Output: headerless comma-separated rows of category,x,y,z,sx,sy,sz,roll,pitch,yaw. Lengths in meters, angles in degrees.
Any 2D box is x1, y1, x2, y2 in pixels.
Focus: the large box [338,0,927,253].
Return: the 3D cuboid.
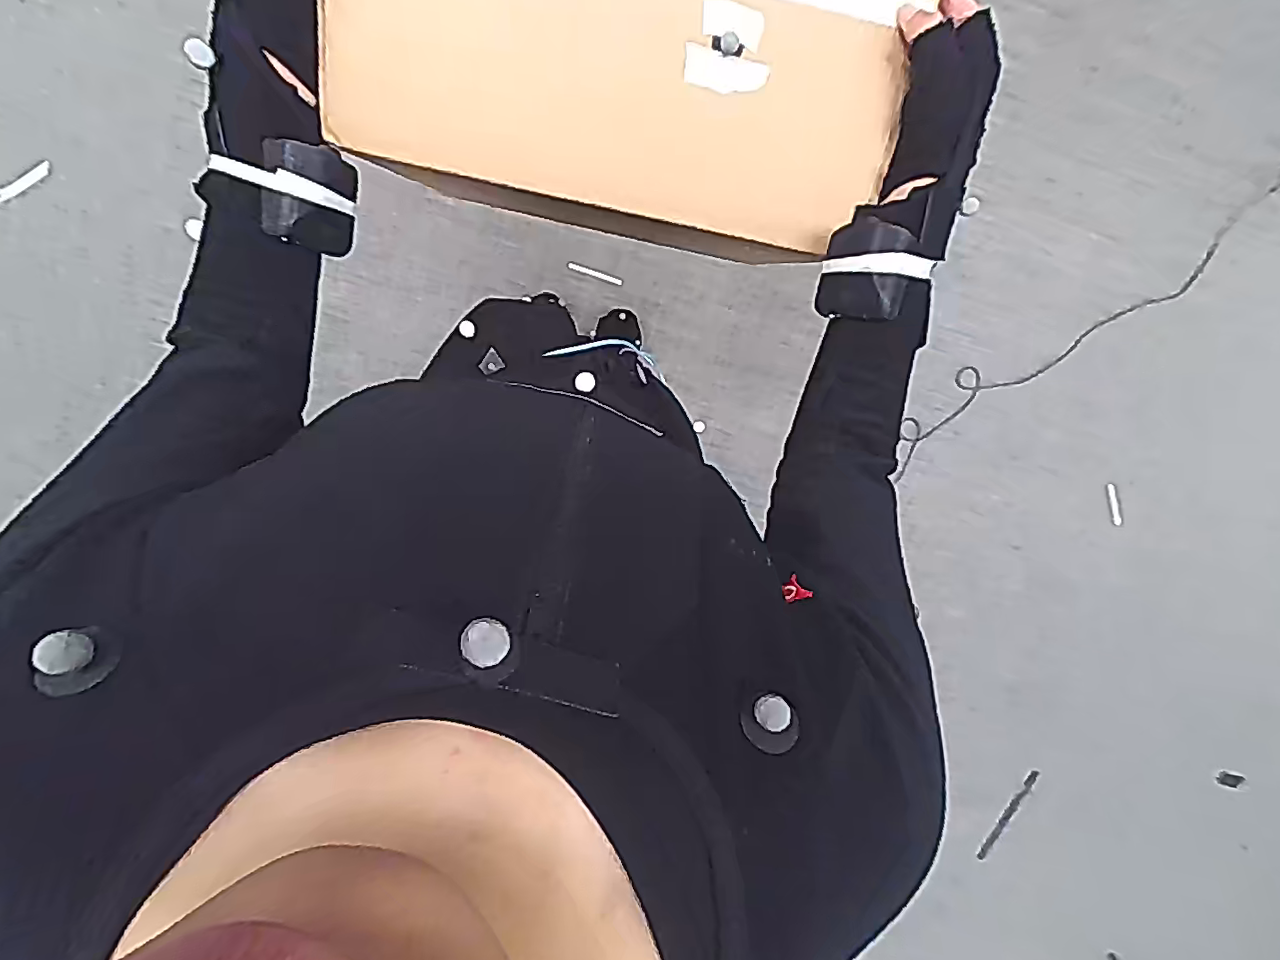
large box,-0.006,-0.411,0.497,0.408,0.320,0.320,9,112,-8
